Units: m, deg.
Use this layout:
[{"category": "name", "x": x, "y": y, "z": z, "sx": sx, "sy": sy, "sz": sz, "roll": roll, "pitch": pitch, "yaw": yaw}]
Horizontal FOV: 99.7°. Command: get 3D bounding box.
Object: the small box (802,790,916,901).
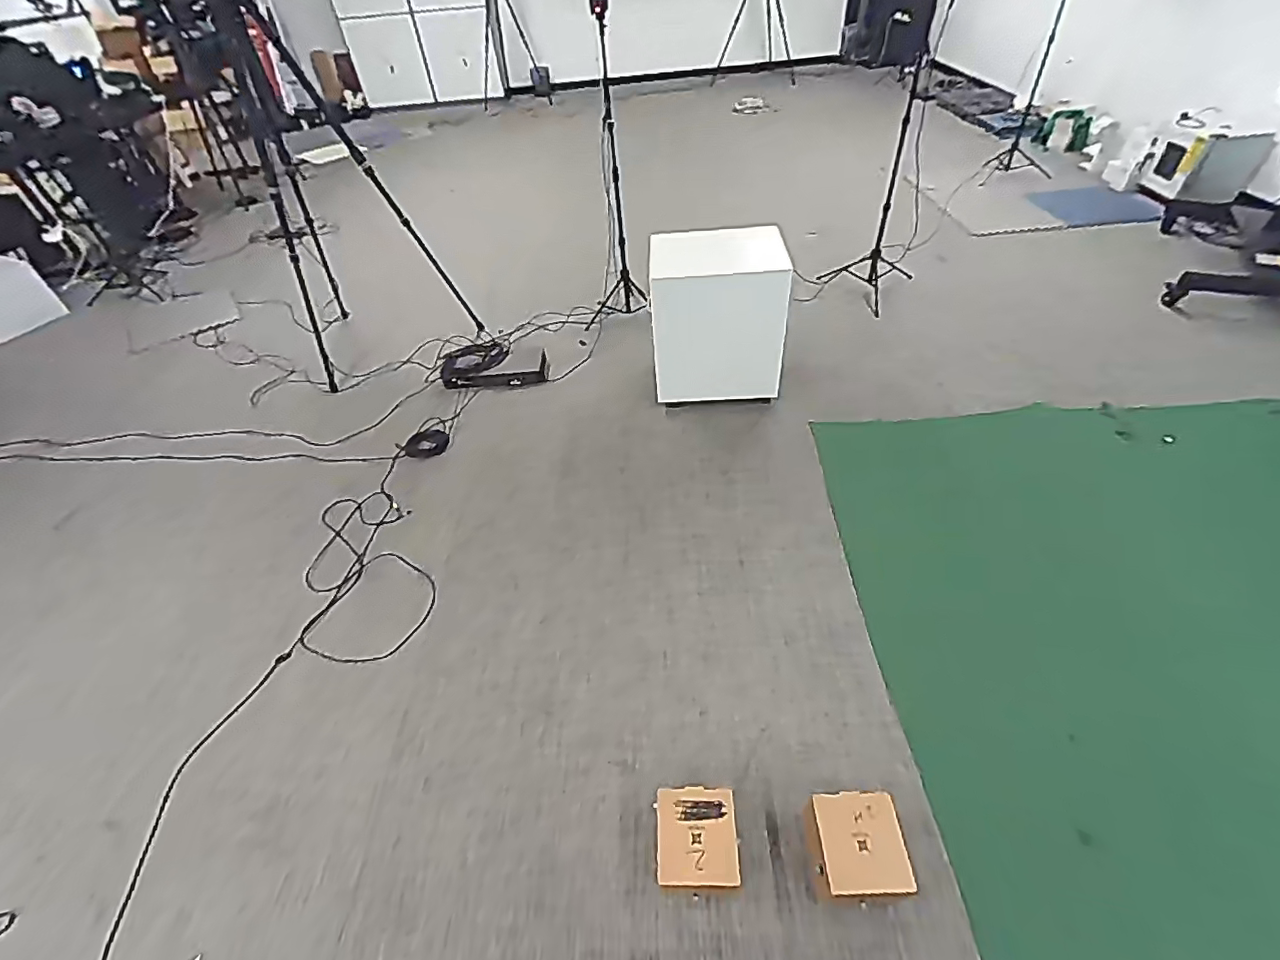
[{"category": "small box", "x": 0.453, "y": 0.777, "z": 1.147, "sx": 0.168, "sy": 0.176, "sz": 0.179, "roll": -3, "pitch": 46, "yaw": 2}]
